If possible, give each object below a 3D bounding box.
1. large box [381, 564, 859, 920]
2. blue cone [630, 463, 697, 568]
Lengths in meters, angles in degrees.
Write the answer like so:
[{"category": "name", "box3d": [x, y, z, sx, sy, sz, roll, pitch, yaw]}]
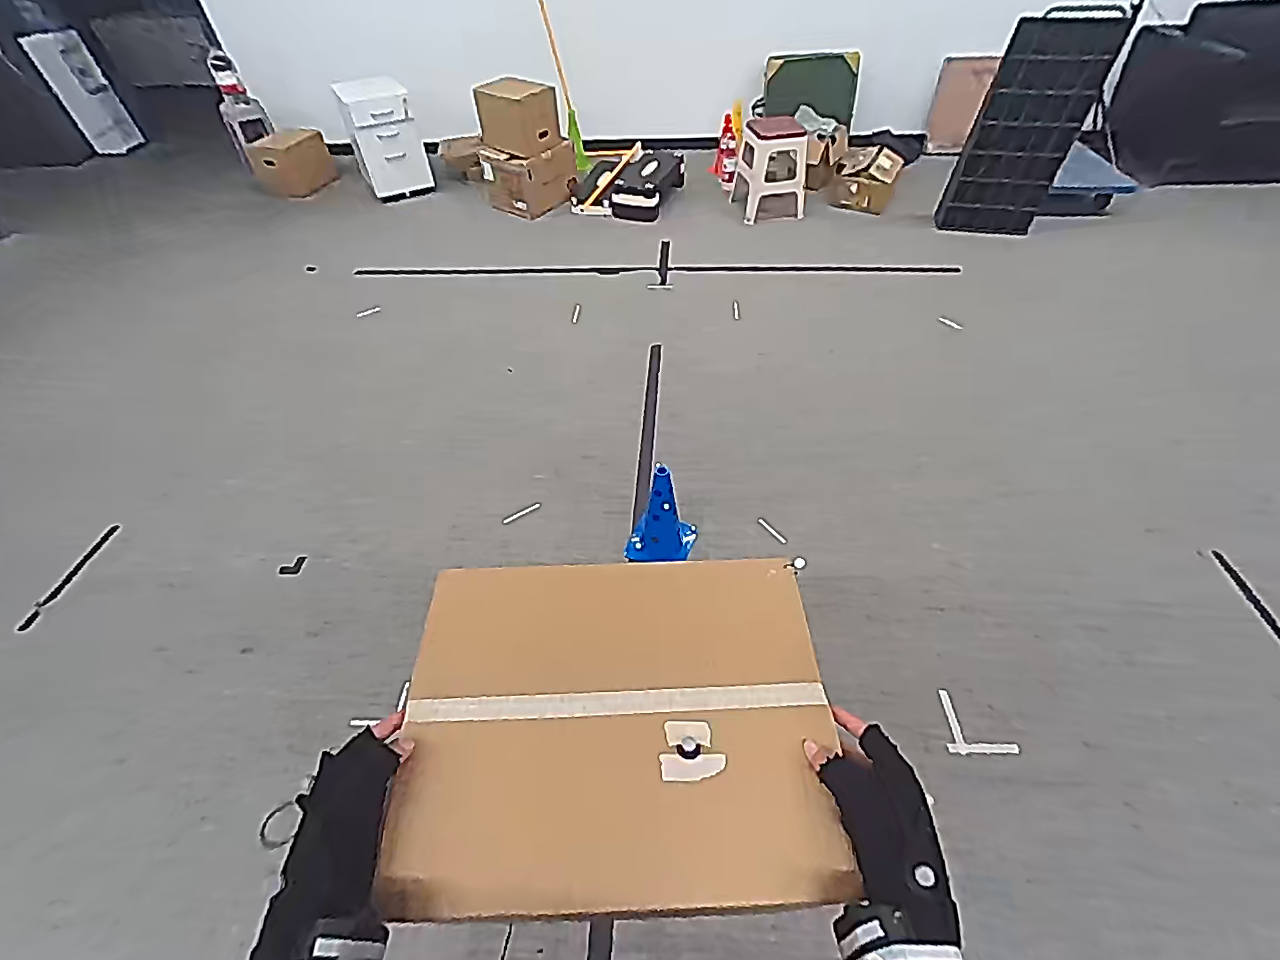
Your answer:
[{"category": "large box", "box3d": [-0.020, 0.318, 0.650, 0.408, 0.320, 0.320, -1, 50, 0]}, {"category": "blue cone", "box3d": [0.075, 0.093, 1.689, 0.193, 0.380, 0.192, 18, 51, 17]}]
